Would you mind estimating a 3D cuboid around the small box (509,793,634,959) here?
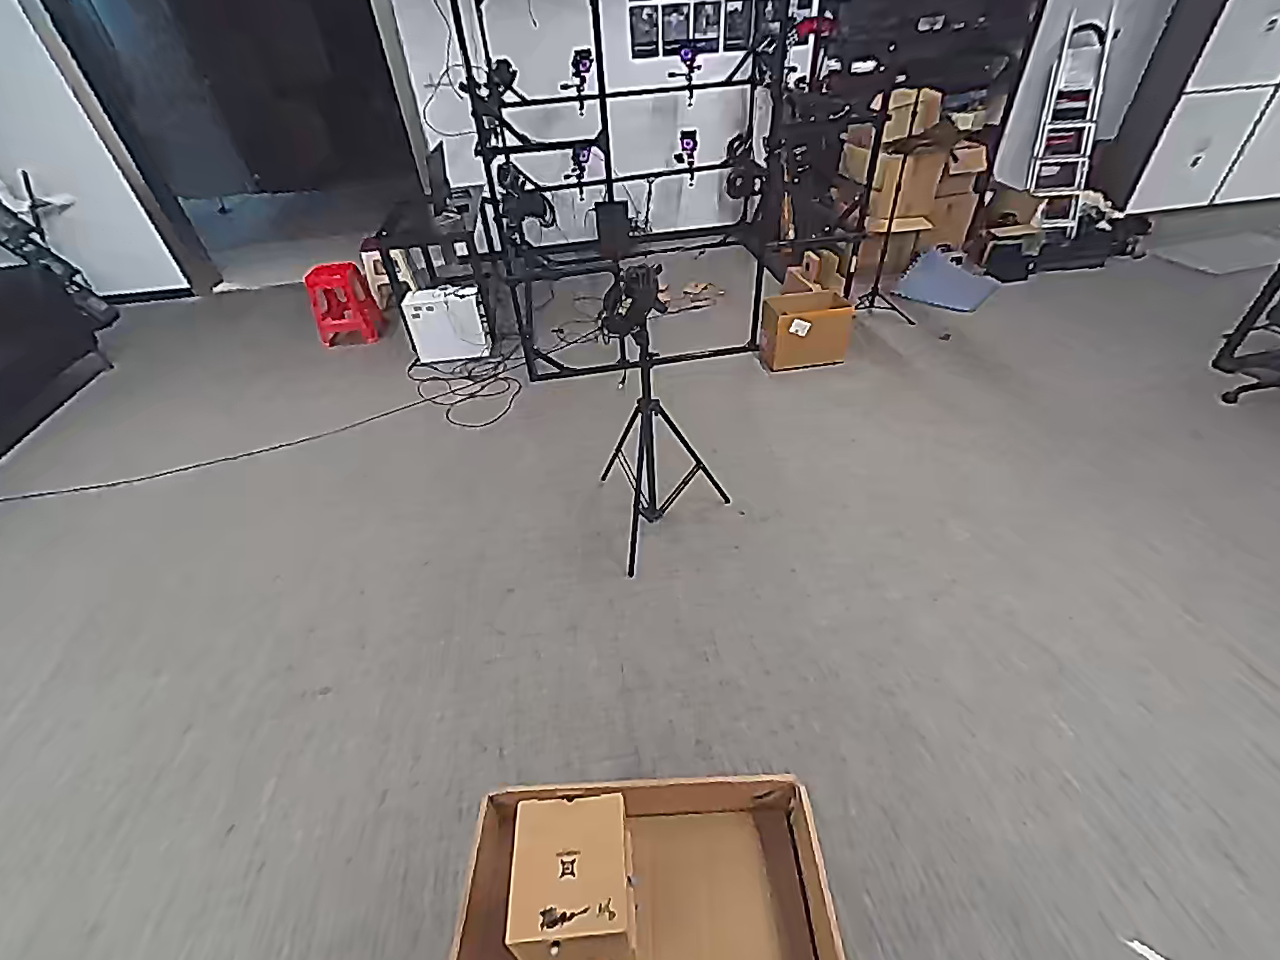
[{"bbox_3d":[-0.096,0.613,0.830,0.168,0.176,0.179,-3,39,-2],"label":"small box"}]
